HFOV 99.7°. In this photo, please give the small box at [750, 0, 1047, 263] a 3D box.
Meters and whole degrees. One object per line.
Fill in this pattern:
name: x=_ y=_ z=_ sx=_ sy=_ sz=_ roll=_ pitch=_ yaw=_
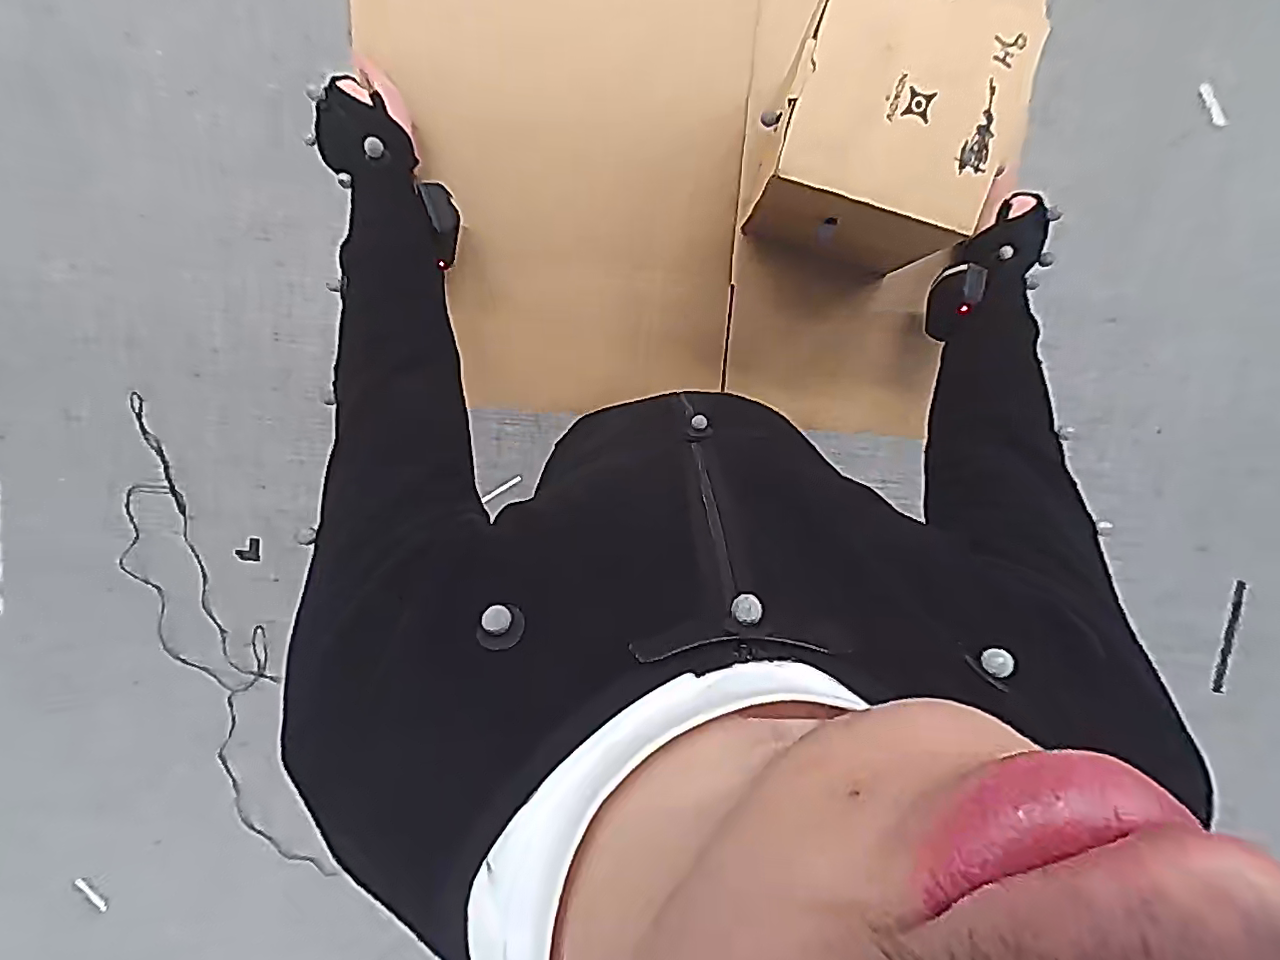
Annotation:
small box: x=0.218 y=-0.325 z=0.515 sx=0.179 sy=0.176 sz=0.168 roll=16 pitch=101 yaw=-1
